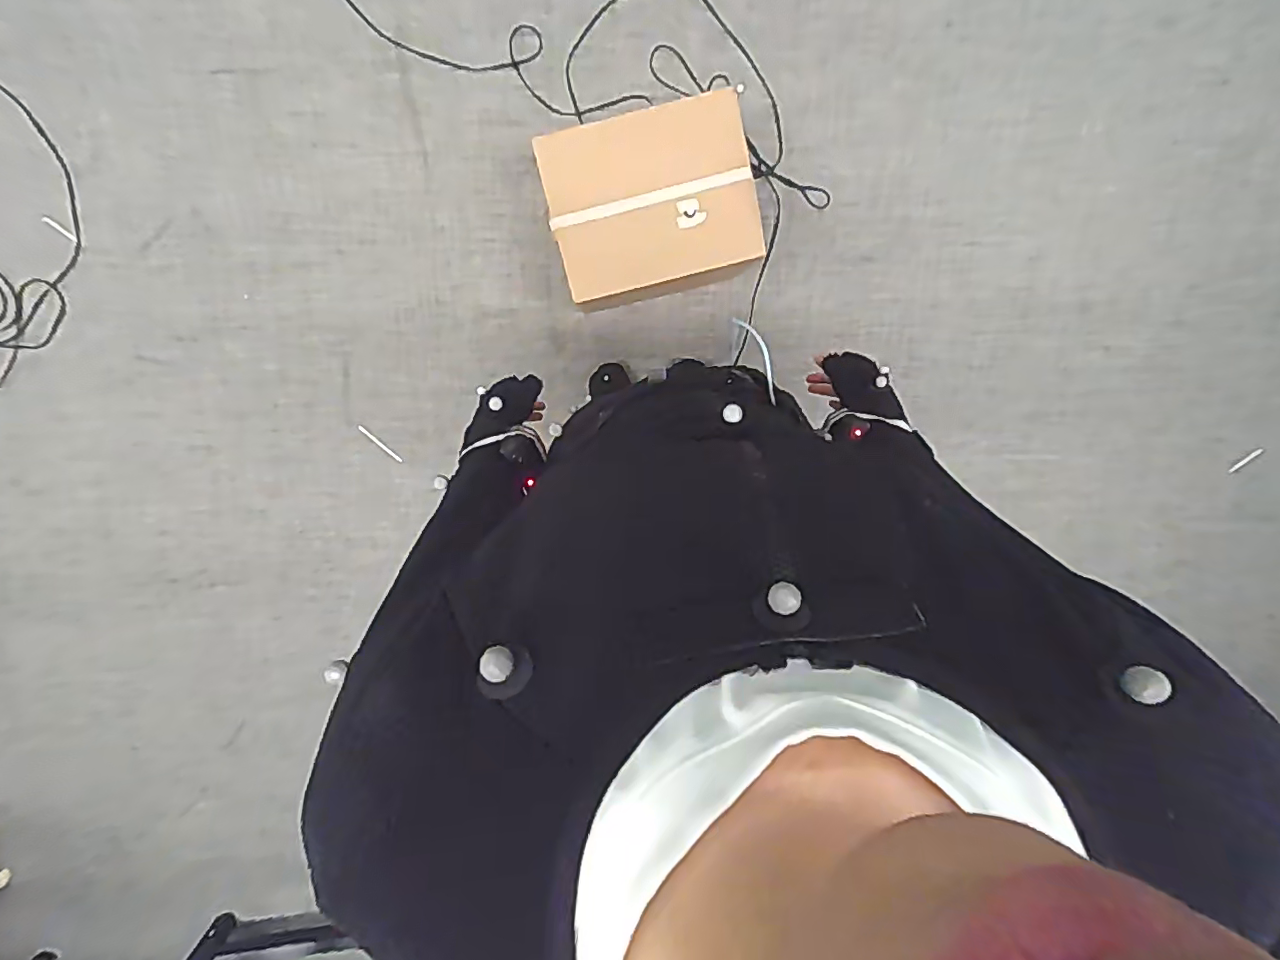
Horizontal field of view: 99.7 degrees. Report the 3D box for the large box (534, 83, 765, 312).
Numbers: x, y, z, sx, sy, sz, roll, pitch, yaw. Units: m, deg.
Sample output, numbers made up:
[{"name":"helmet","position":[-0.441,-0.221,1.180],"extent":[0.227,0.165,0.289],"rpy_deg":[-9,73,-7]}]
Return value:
[{"name":"large box","position":[0.018,-0.591,1.206],"extent":[0.408,0.320,0.320],"rpy_deg":[-14,104,1]}]
